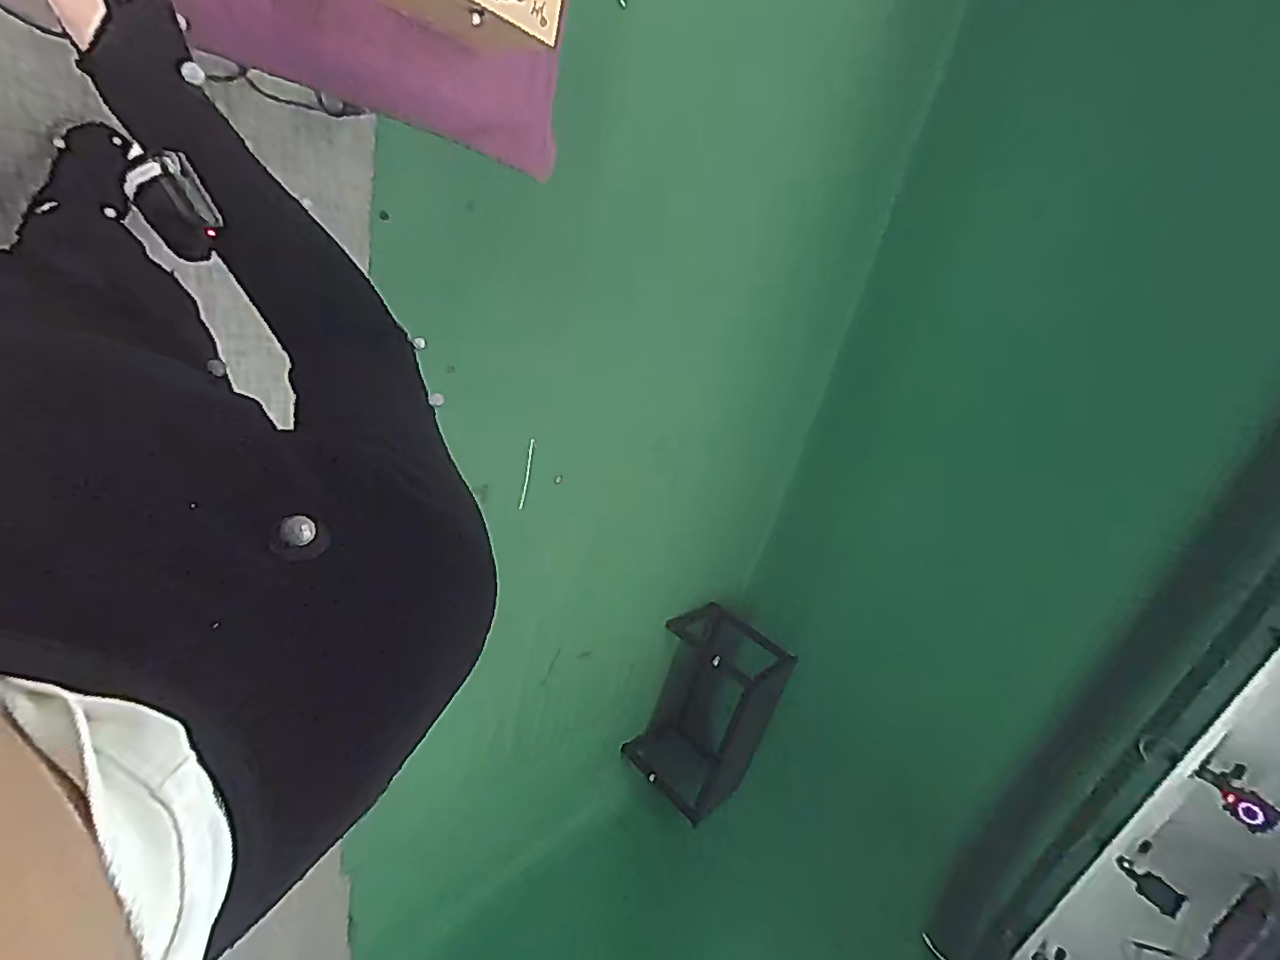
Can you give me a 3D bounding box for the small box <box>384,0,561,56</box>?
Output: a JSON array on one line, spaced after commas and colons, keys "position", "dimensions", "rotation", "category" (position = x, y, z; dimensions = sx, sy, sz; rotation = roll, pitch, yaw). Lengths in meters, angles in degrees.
[{"position": [-0.207, -0.661, 0.663], "dimensions": [0.168, 0.176, 0.179], "rotation": [-9, 120, -46], "category": "small box"}]
